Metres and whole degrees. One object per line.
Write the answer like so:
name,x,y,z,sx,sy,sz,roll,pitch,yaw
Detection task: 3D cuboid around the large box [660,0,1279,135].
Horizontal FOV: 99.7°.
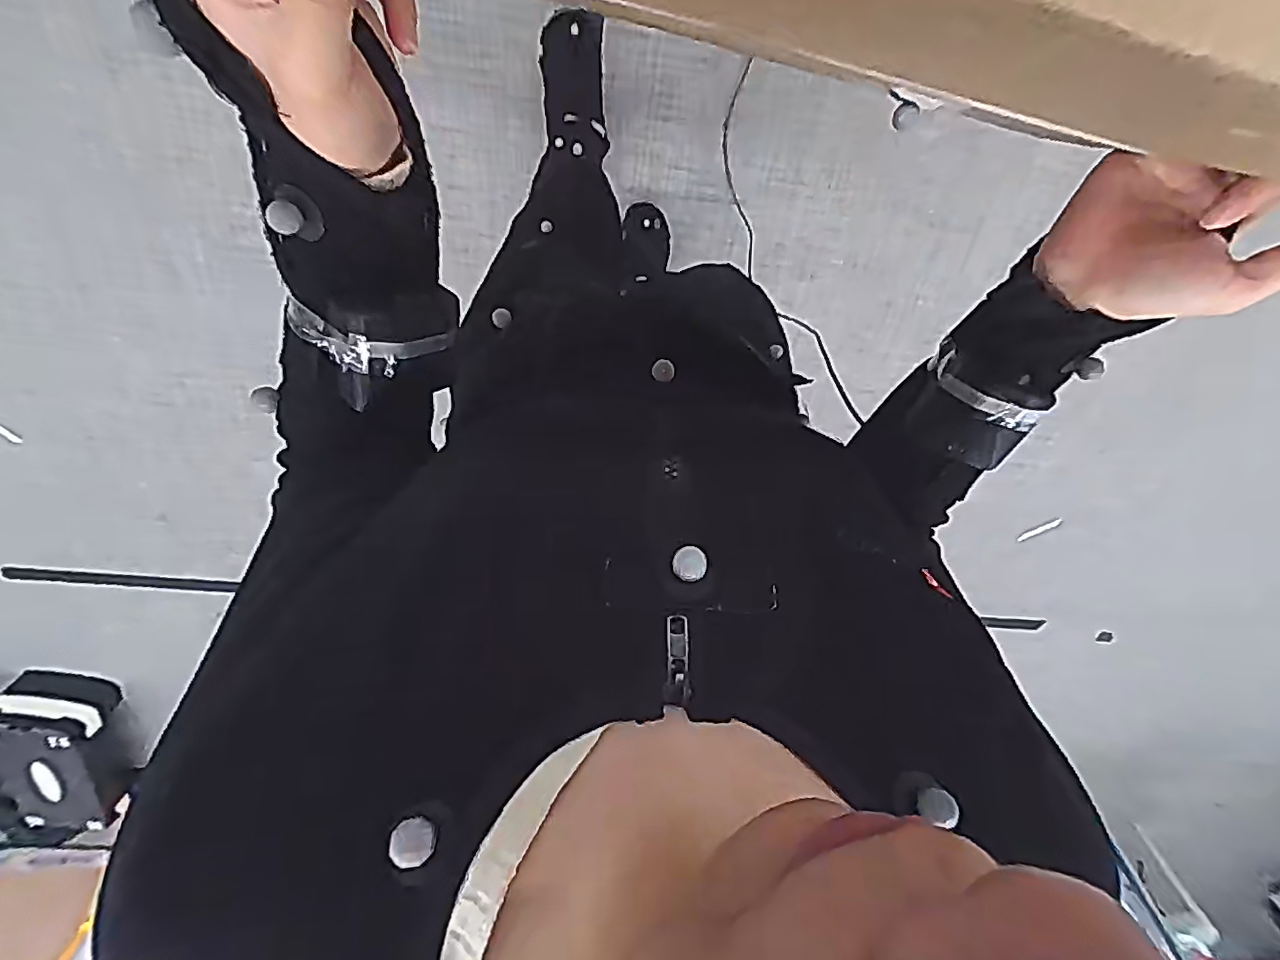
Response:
large box,0.106,-0.301,0.115,0.408,0.320,0.320,4,128,-12
